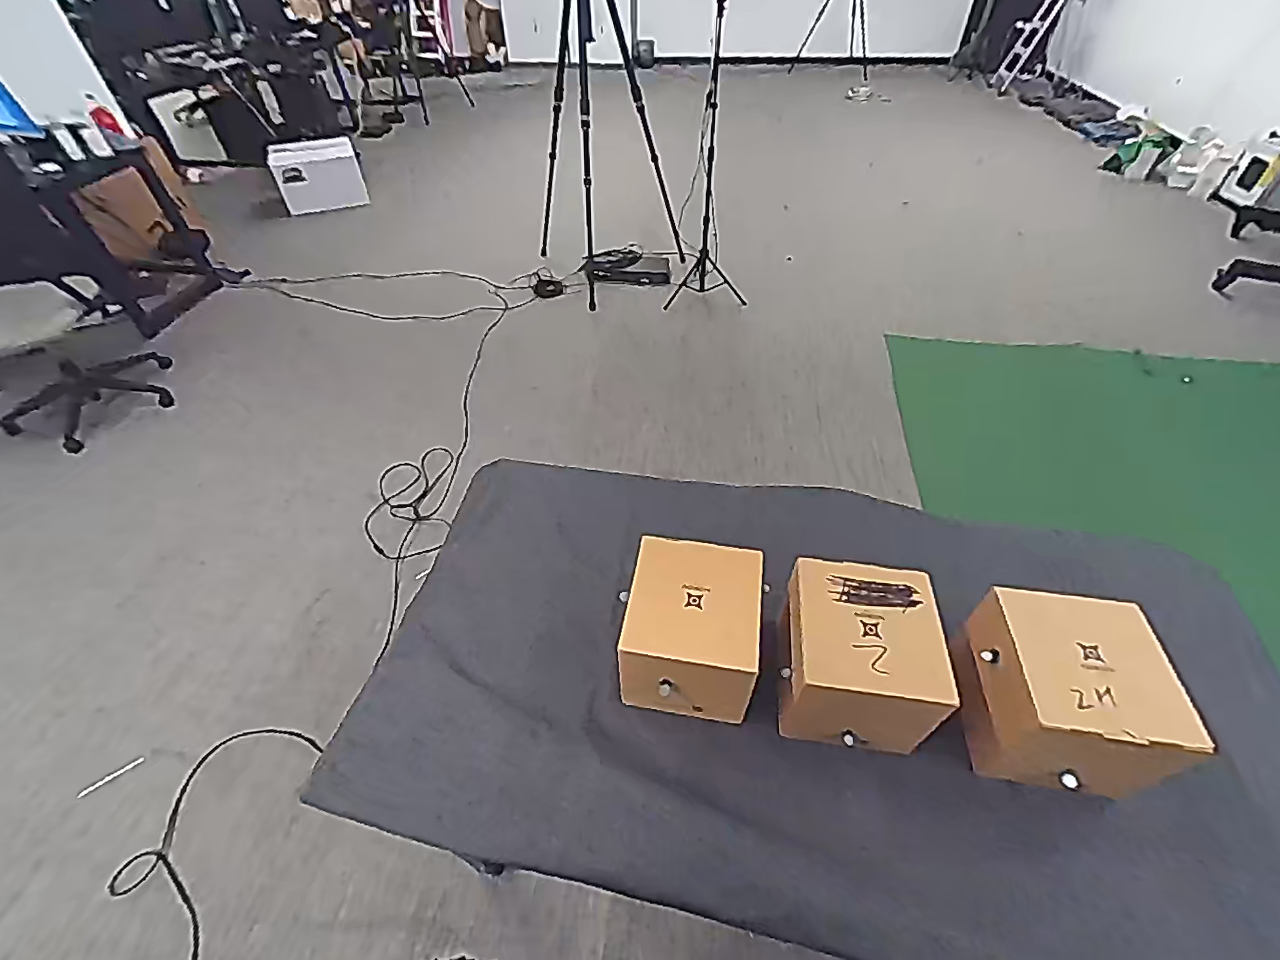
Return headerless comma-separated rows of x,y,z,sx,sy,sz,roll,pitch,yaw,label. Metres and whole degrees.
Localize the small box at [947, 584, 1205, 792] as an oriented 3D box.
0.510,0.257,0.673,0.168,0.176,0.179,6,46,8,small box
